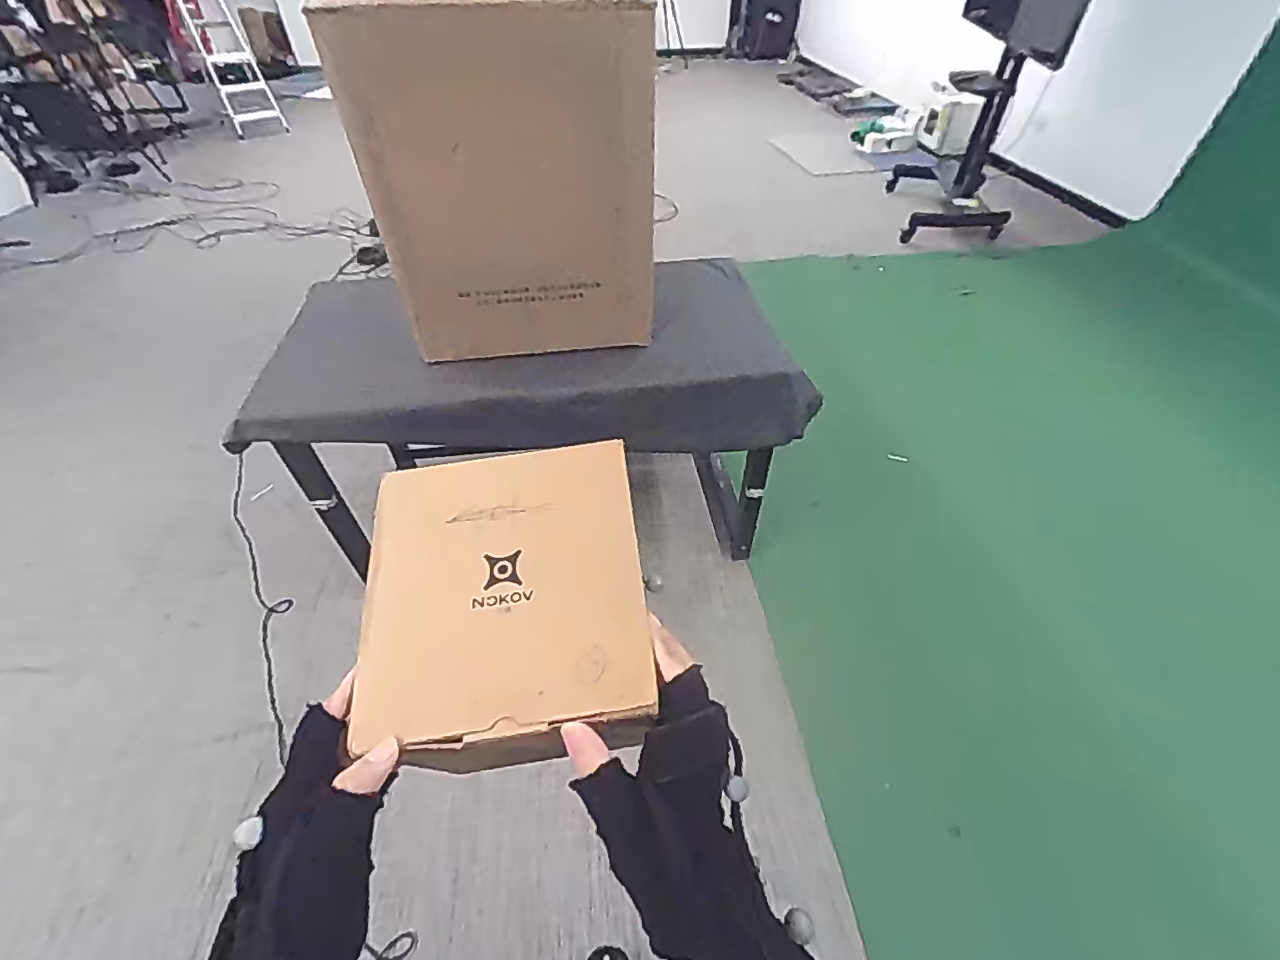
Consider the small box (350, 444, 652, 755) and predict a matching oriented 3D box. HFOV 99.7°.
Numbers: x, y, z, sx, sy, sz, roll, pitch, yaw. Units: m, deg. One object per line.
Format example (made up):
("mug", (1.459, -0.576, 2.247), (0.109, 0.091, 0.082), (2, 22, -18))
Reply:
("small box", (-0.084, 0.099, 0.405), (0.168, 0.176, 0.179), (-8, 58, -2))
